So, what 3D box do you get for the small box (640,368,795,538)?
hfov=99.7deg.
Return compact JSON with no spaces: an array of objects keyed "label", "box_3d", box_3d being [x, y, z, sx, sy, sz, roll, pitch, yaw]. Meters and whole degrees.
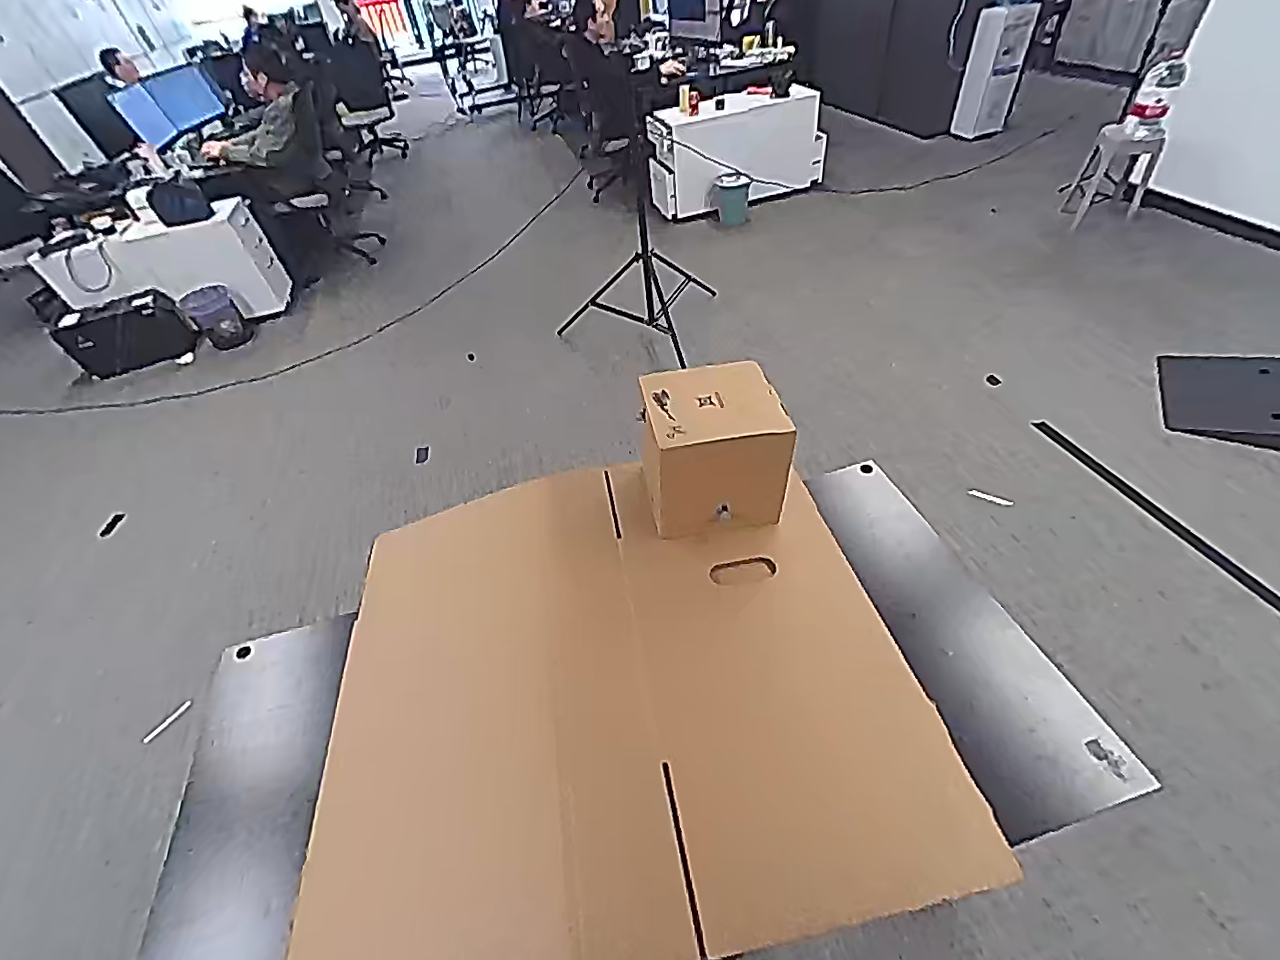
[{"label":"small box","box_3d":[0.097,-0.038,0.772,0.179,0.176,0.168,-8,43,-6]}]
